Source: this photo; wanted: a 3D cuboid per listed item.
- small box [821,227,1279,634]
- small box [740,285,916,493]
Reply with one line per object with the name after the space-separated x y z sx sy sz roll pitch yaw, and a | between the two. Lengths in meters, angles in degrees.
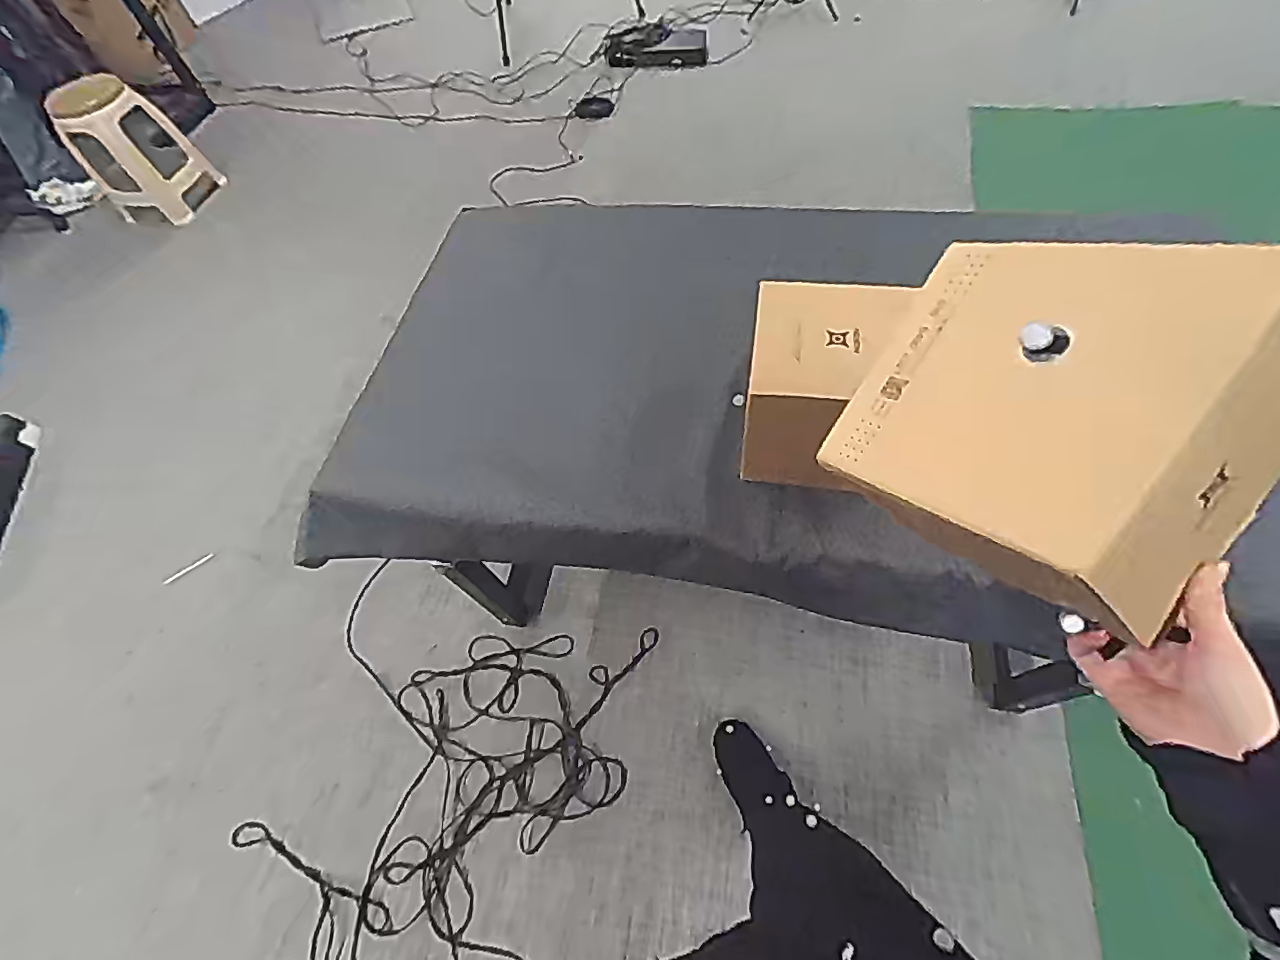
0.254 -0.032 0.348 0.168 0.179 0.176 -60 35 5 | small box
0.213 -0.098 0.621 0.179 0.176 0.168 5 59 11 | small box
